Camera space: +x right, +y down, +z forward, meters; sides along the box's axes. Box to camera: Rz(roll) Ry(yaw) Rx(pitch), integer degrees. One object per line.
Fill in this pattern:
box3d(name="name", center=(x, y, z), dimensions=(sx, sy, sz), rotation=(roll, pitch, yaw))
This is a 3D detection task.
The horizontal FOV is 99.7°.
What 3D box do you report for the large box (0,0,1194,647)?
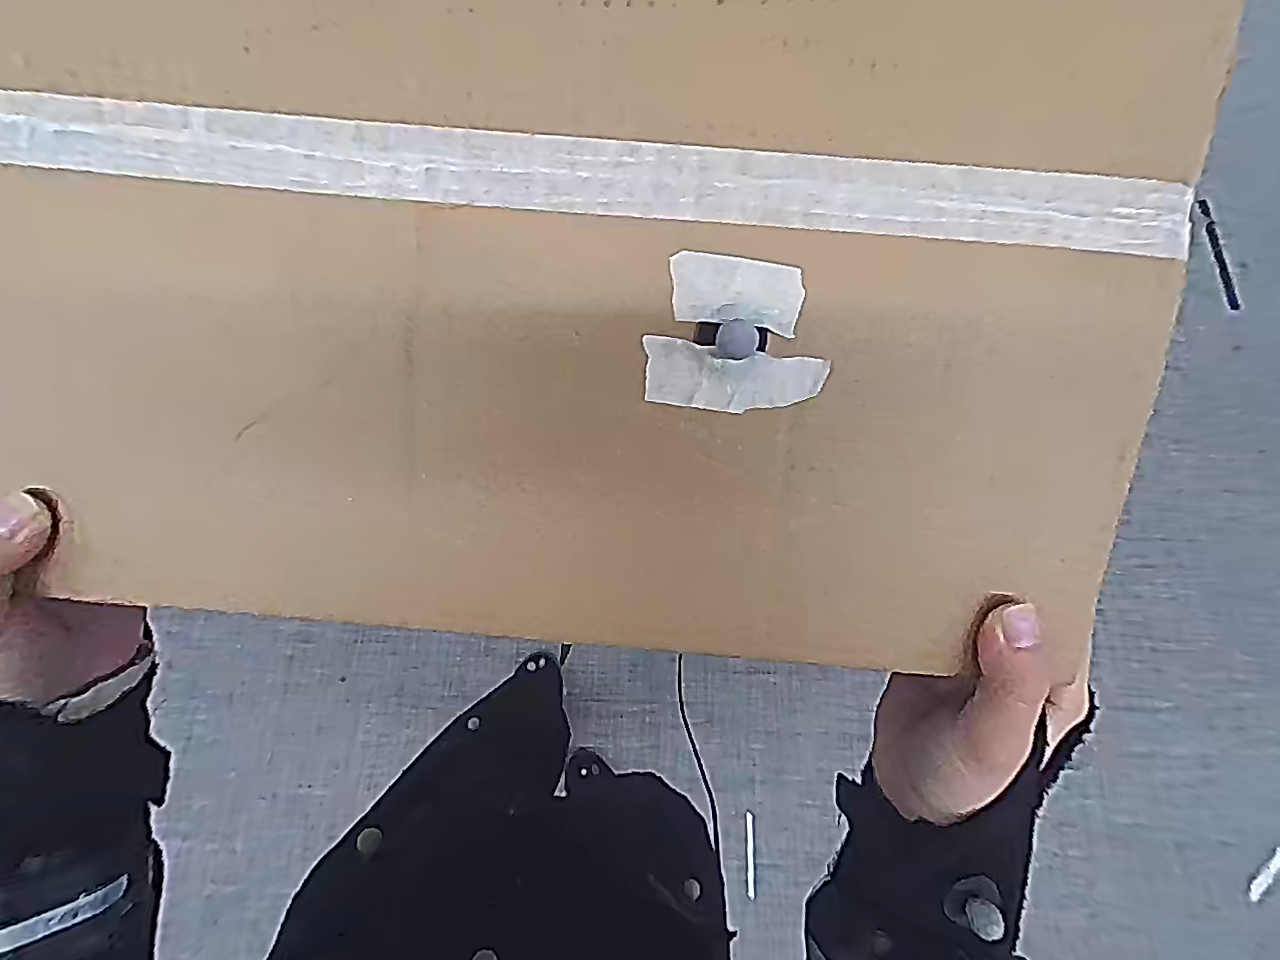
box3d(name="large box", center=(-0.029, -0.120, 0.330), dimensions=(0.408, 0.320, 0.320), rotation=(4, 100, -1))
